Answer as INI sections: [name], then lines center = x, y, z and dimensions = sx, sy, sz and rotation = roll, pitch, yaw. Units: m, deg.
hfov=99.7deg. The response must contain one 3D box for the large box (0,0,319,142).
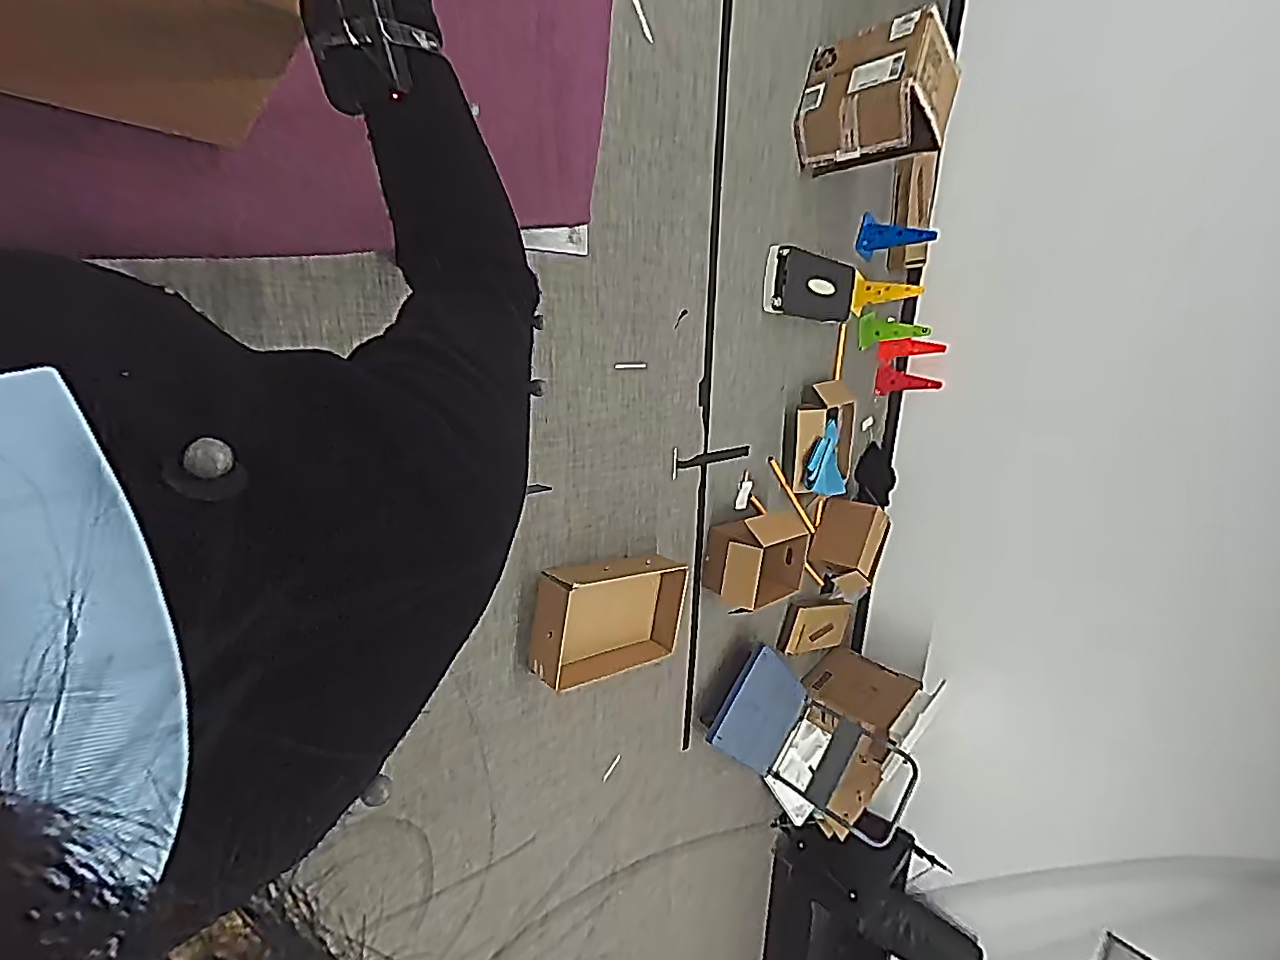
[large box]
center = -0.459, -0.447, 0.304
dimensions = 0.408, 0.320, 0.320
rotation = -10, 105, -42
